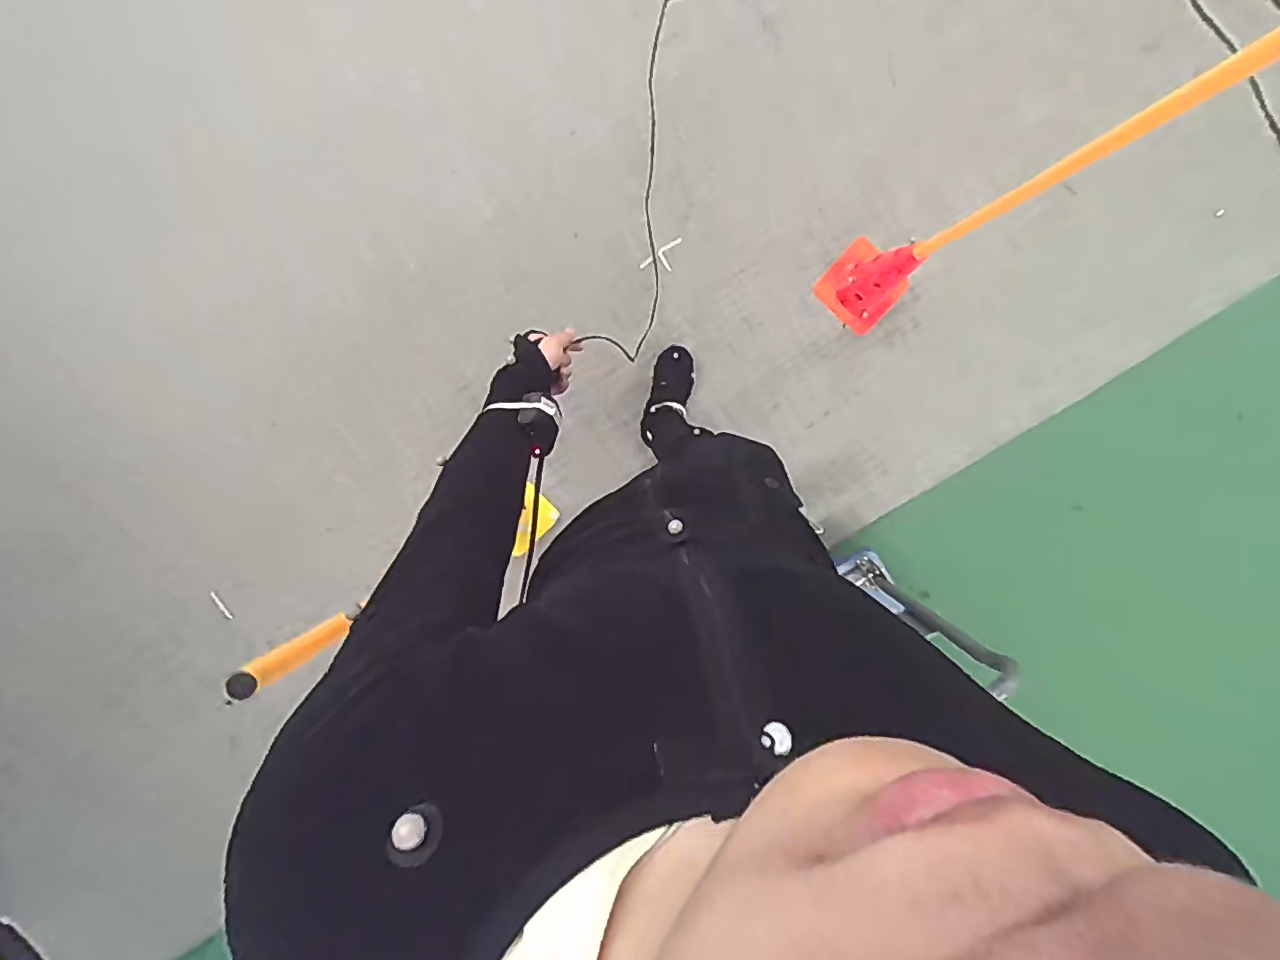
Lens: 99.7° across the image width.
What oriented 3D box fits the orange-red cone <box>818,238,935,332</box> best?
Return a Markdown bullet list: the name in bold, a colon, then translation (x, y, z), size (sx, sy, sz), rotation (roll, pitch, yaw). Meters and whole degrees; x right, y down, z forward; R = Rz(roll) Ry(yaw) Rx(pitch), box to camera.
- **orange-red cone**: translation (0.614, -0.515, 1.324), size (0.198, 0.360, 0.199), rotation (42, 96, -4)
